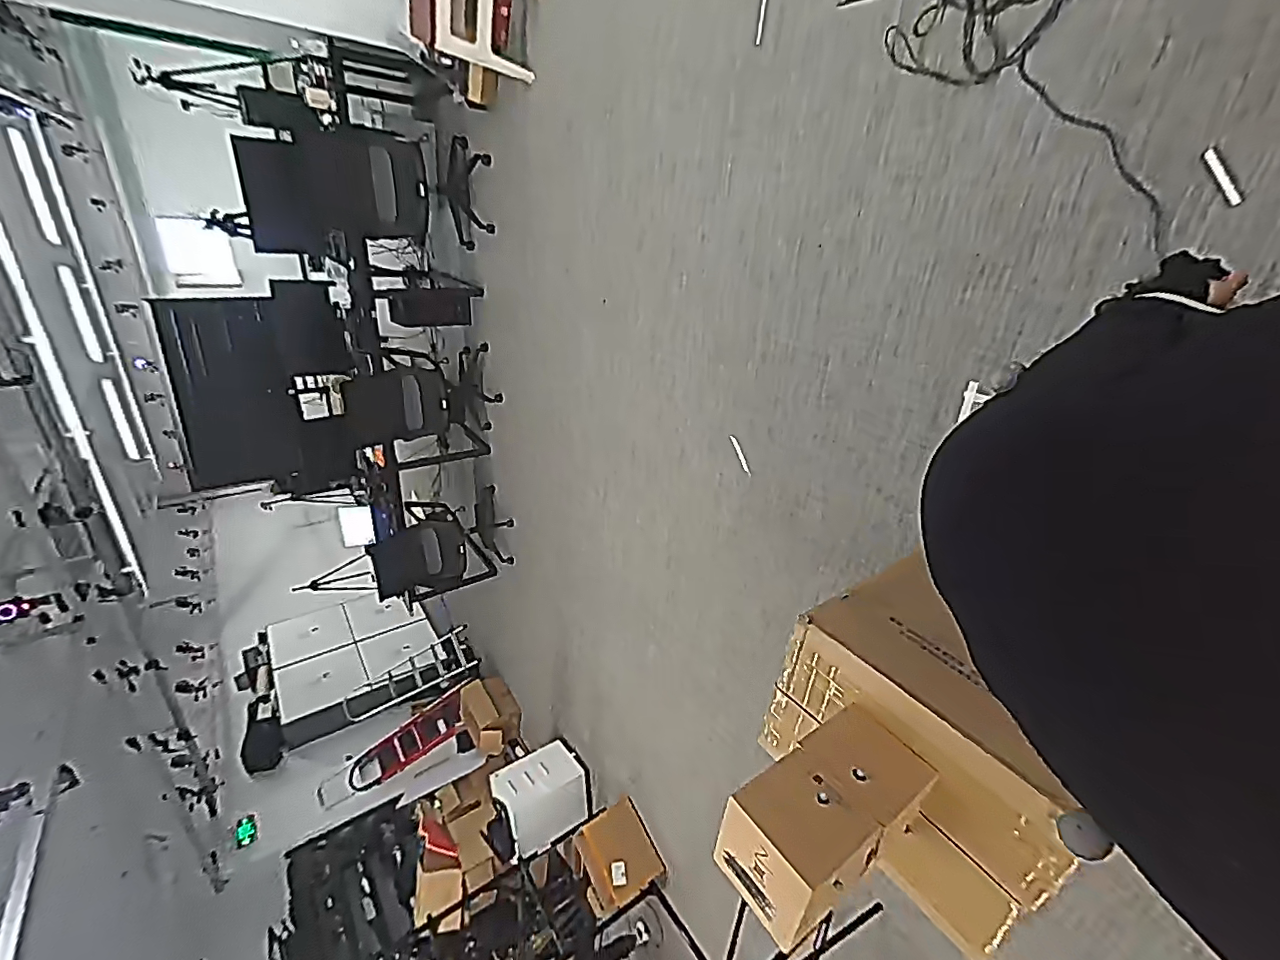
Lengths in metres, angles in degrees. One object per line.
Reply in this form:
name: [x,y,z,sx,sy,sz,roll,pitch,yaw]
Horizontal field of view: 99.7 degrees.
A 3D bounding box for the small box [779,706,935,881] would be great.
small box: [0.382,0.541,0.957,0.179,0.176,0.168,37,130,45]
